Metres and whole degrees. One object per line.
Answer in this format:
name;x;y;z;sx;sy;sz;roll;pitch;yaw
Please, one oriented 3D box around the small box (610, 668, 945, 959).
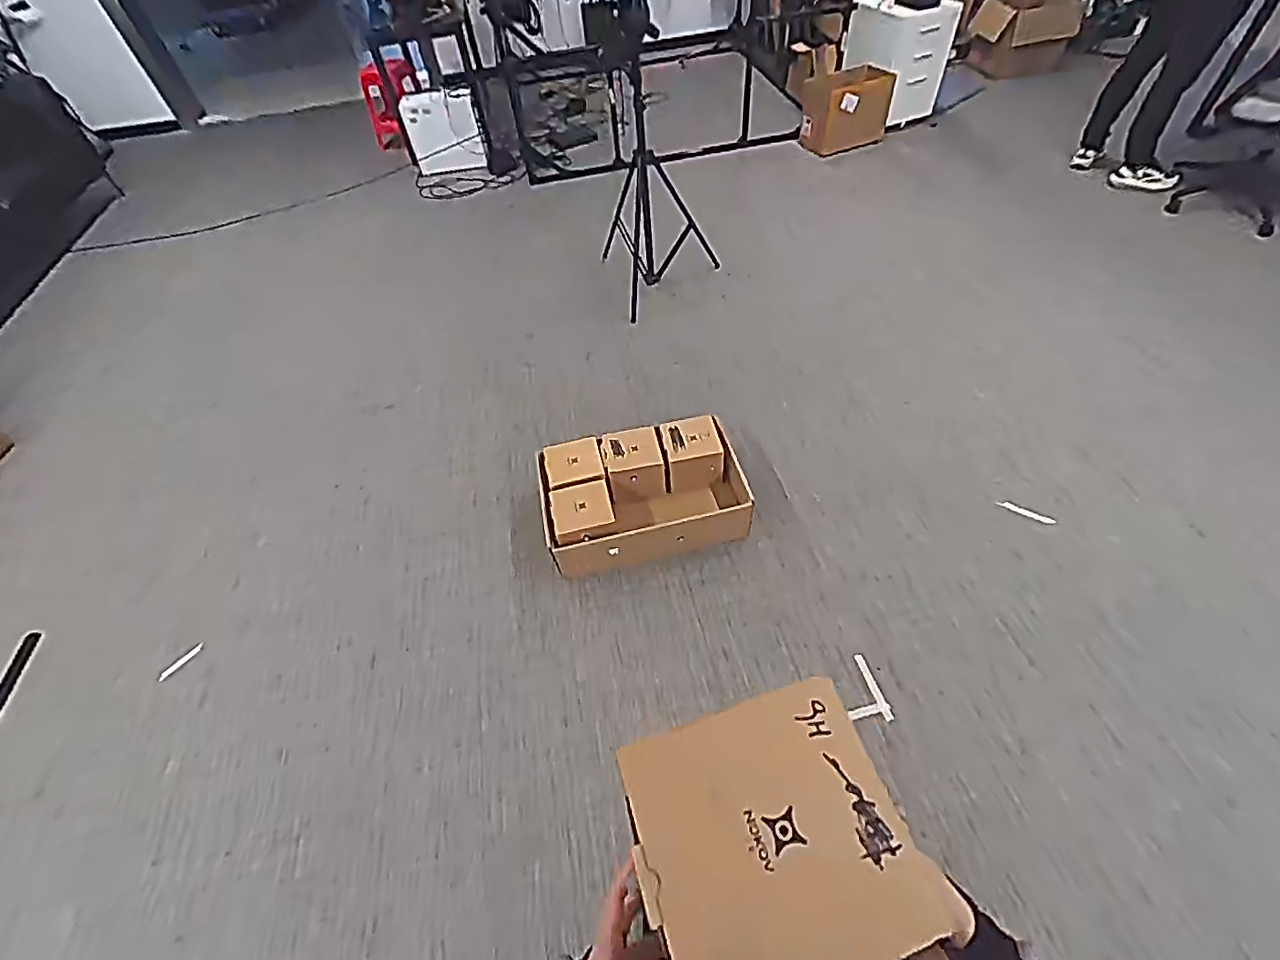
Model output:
small box;0.087;0.277;0.429;0.179;0.176;0.168;-16;57;-9
